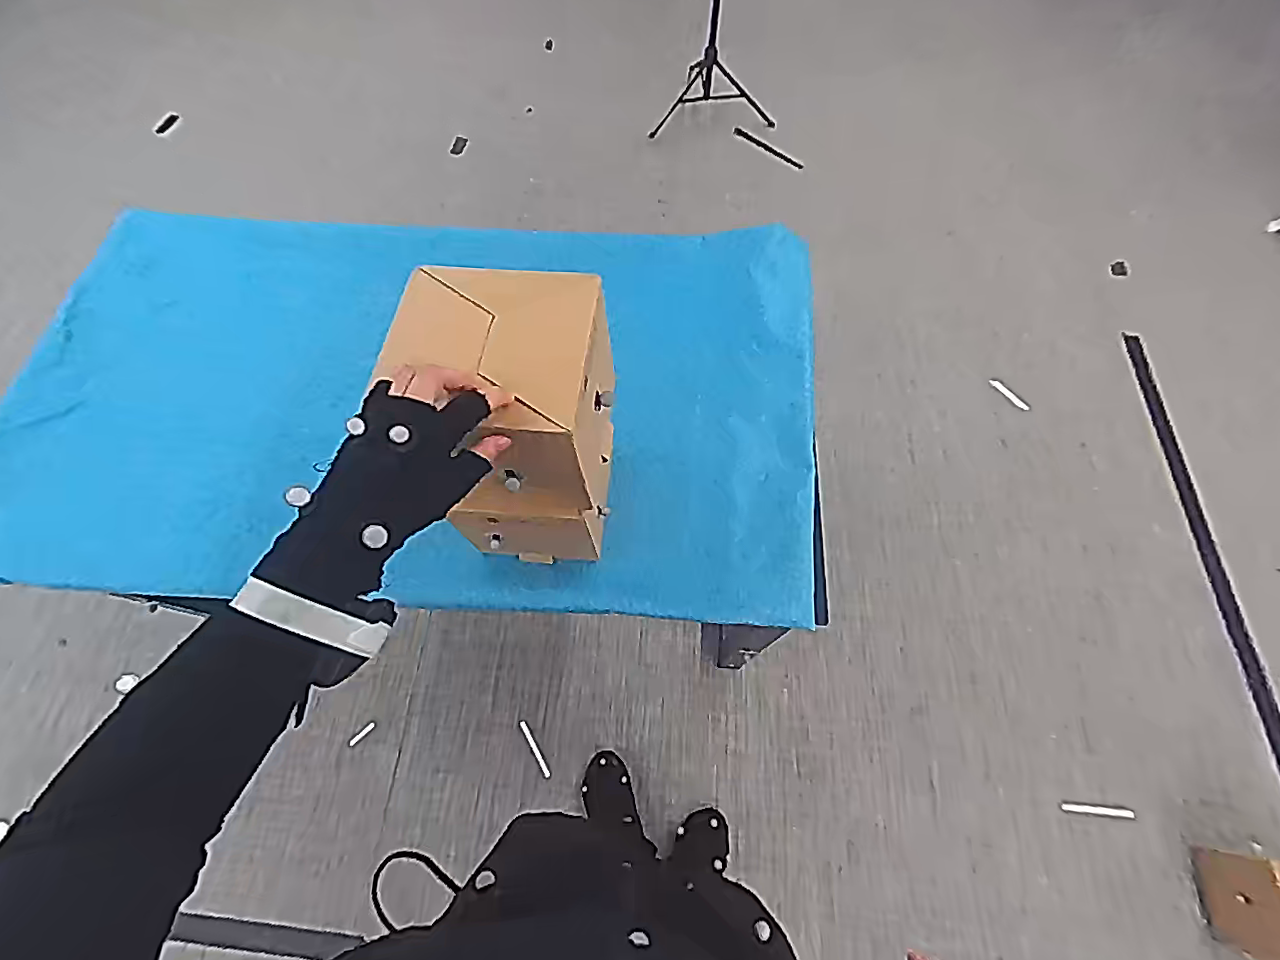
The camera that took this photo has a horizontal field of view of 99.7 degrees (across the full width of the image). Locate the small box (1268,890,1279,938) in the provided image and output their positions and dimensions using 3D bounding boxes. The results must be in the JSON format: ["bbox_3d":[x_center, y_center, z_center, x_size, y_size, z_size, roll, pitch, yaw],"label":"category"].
[{"bbox_3d":[1.257,0.770,0.912,0.168,0.176,0.179,39,72,16],"label":"small box"}]

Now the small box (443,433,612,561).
[{"bbox_3d":[-0.130,-0.008,0.684,0.168,0.176,0.179,4,66,3],"label":"small box"}]

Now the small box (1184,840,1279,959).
[{"bbox_3d":[1.249,0.837,1.066,0.168,0.176,0.179,6,65,4],"label":"small box"}]

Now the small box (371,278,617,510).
[{"bbox_3d":[-0.126,-0.080,0.538,0.179,0.176,0.168,4,65,5],"label":"small box"}]
